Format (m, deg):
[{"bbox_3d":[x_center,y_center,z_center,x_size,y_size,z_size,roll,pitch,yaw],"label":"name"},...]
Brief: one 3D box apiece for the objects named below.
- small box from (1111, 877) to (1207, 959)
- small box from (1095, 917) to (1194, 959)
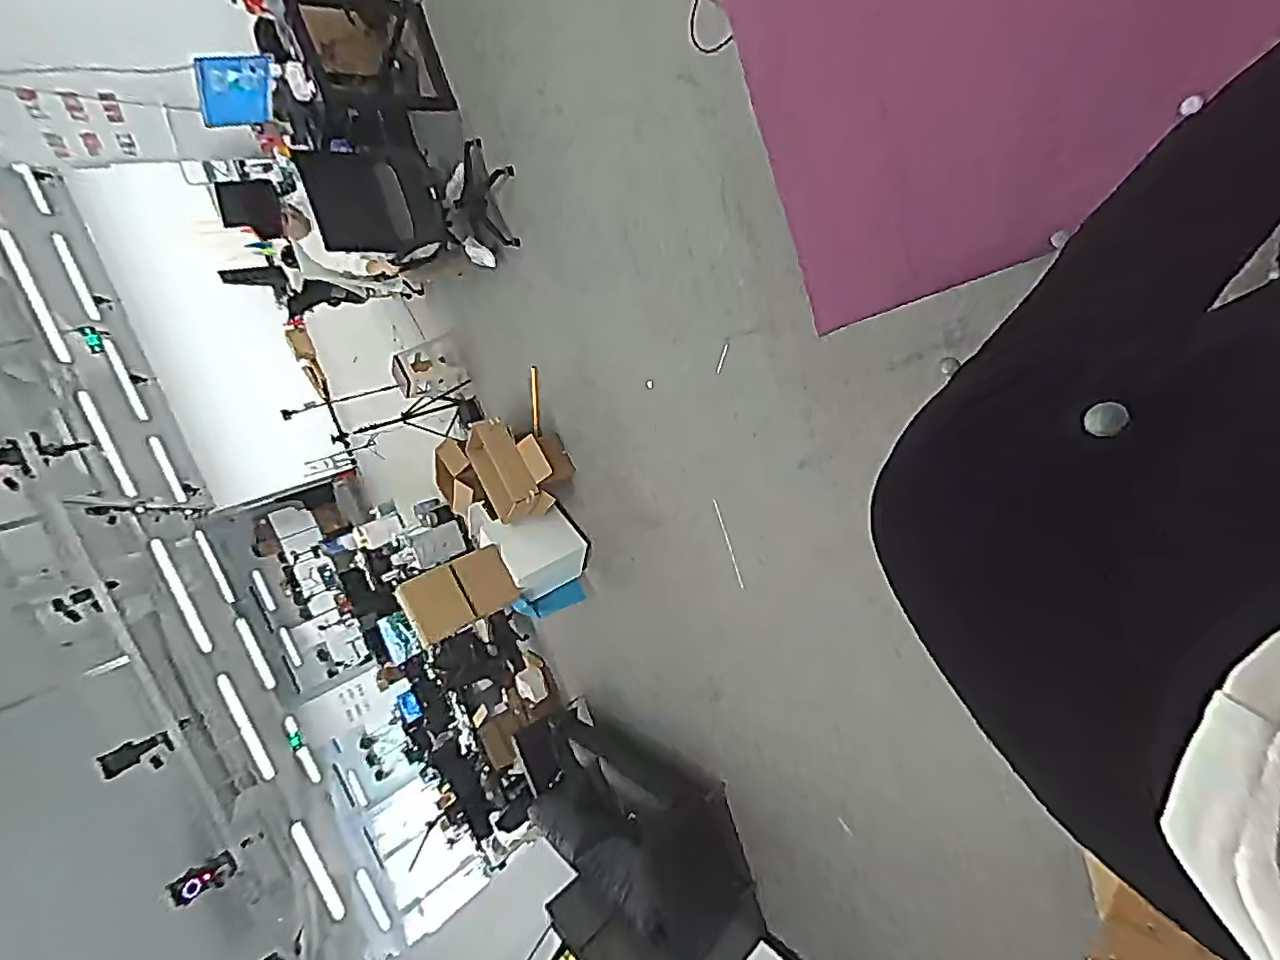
[{"bbox_3d":[1.530,1.327,1.594,0.179,0.176,0.168,5,114,54],"label":"small box"},{"bbox_3d":[1.400,1.377,1.505,0.179,0.176,0.168,11,119,52],"label":"small box"}]
